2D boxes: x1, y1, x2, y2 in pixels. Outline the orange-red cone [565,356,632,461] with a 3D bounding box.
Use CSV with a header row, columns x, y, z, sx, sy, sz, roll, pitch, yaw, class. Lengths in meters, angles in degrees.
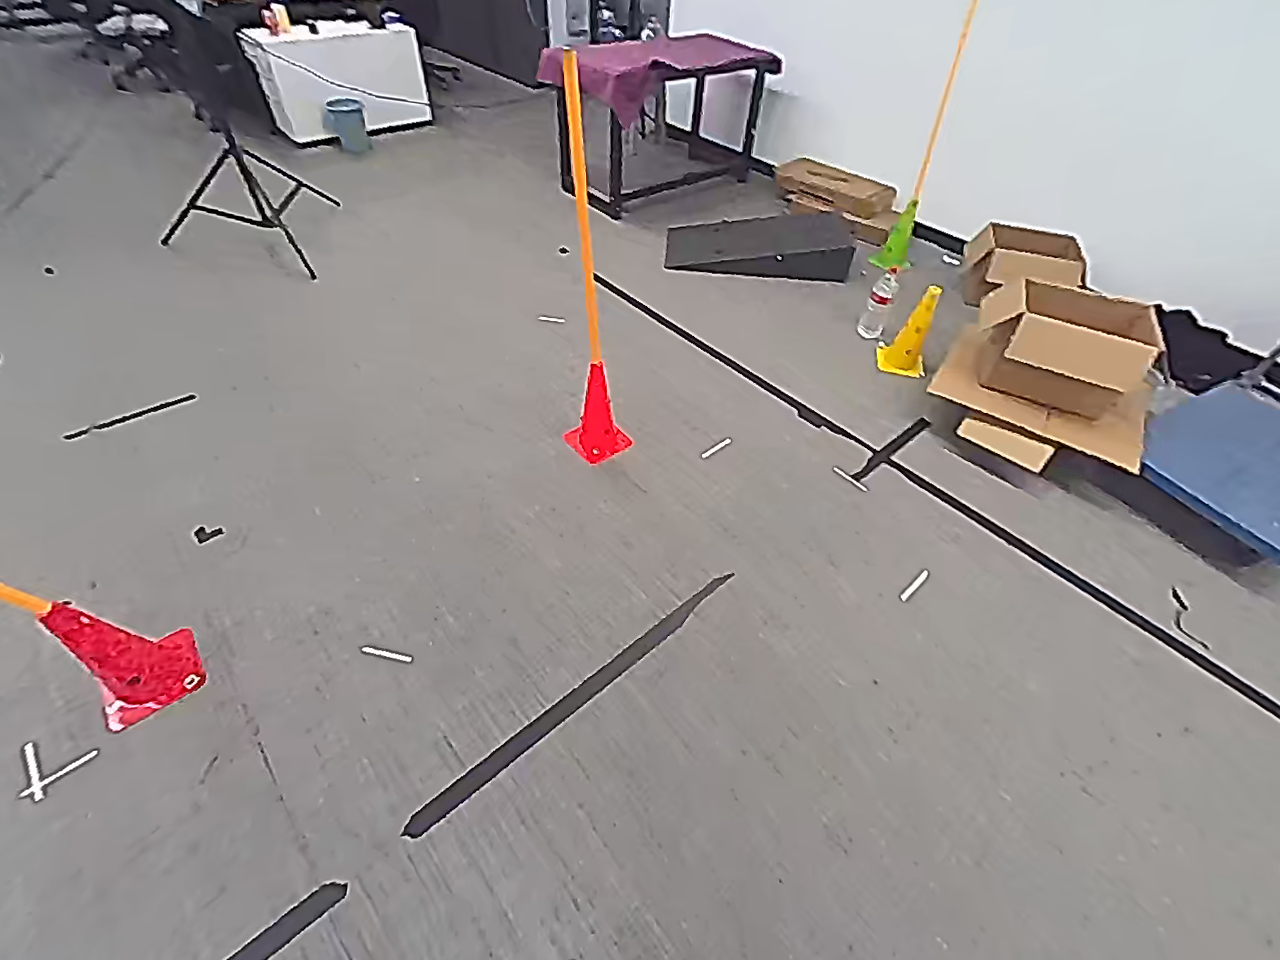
x,y,z,sx,sy,sz,roll,pitch,yaw,class
-0.145,-0.274,1.877,0.199,0.360,0.198,-28,56,-26,orange-red cone
